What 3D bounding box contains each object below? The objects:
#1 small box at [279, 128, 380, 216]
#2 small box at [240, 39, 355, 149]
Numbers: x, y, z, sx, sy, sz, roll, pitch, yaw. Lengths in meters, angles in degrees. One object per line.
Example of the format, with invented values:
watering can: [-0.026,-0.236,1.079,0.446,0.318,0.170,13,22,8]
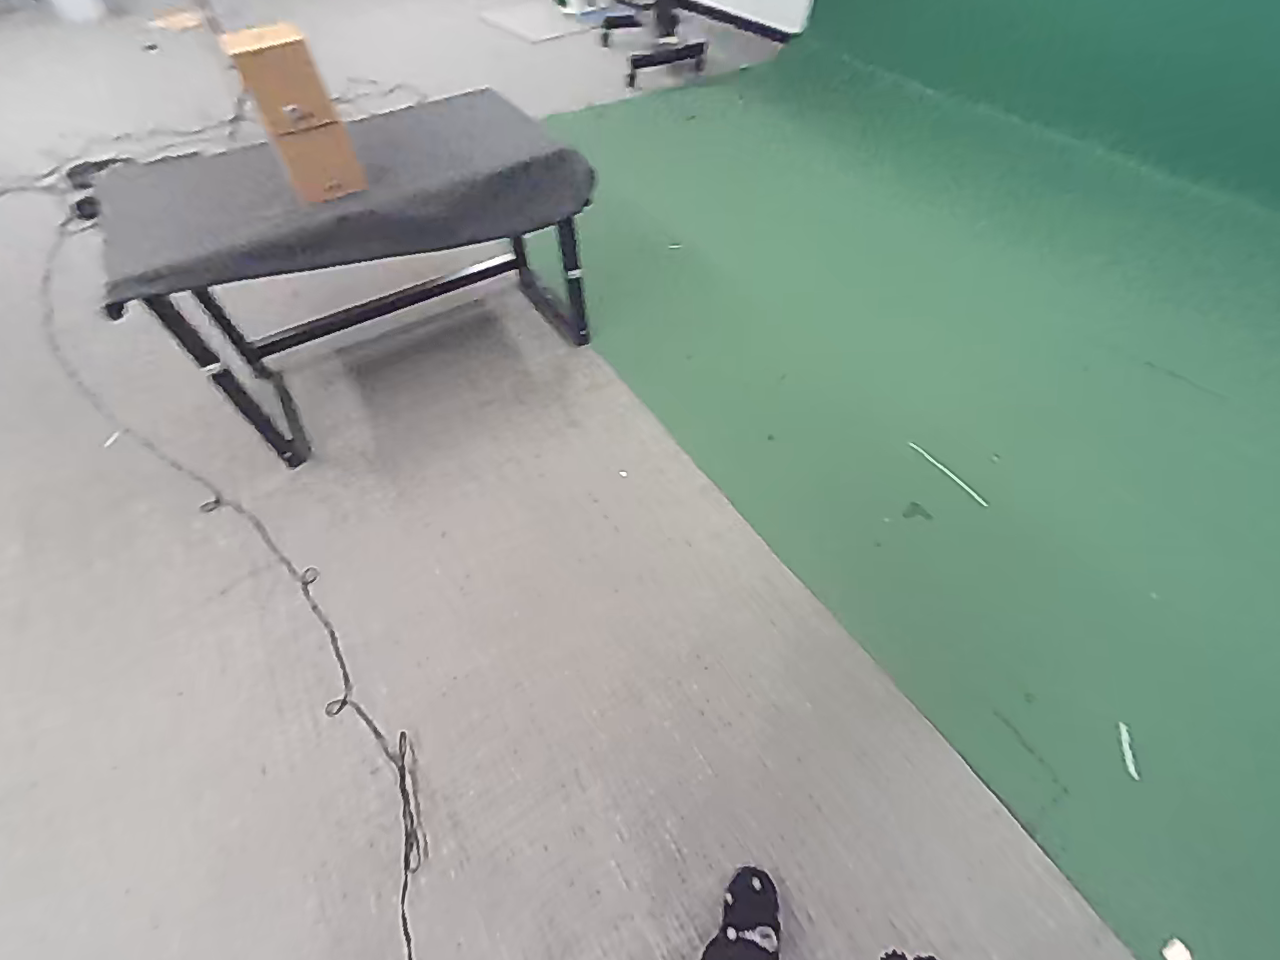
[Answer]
small box: [-0.826,-0.845,1.455,0.179,0.176,0.168,-27,55,-17]
small box: [-0.834,-0.943,1.326,0.168,0.176,0.179,-29,57,-16]
